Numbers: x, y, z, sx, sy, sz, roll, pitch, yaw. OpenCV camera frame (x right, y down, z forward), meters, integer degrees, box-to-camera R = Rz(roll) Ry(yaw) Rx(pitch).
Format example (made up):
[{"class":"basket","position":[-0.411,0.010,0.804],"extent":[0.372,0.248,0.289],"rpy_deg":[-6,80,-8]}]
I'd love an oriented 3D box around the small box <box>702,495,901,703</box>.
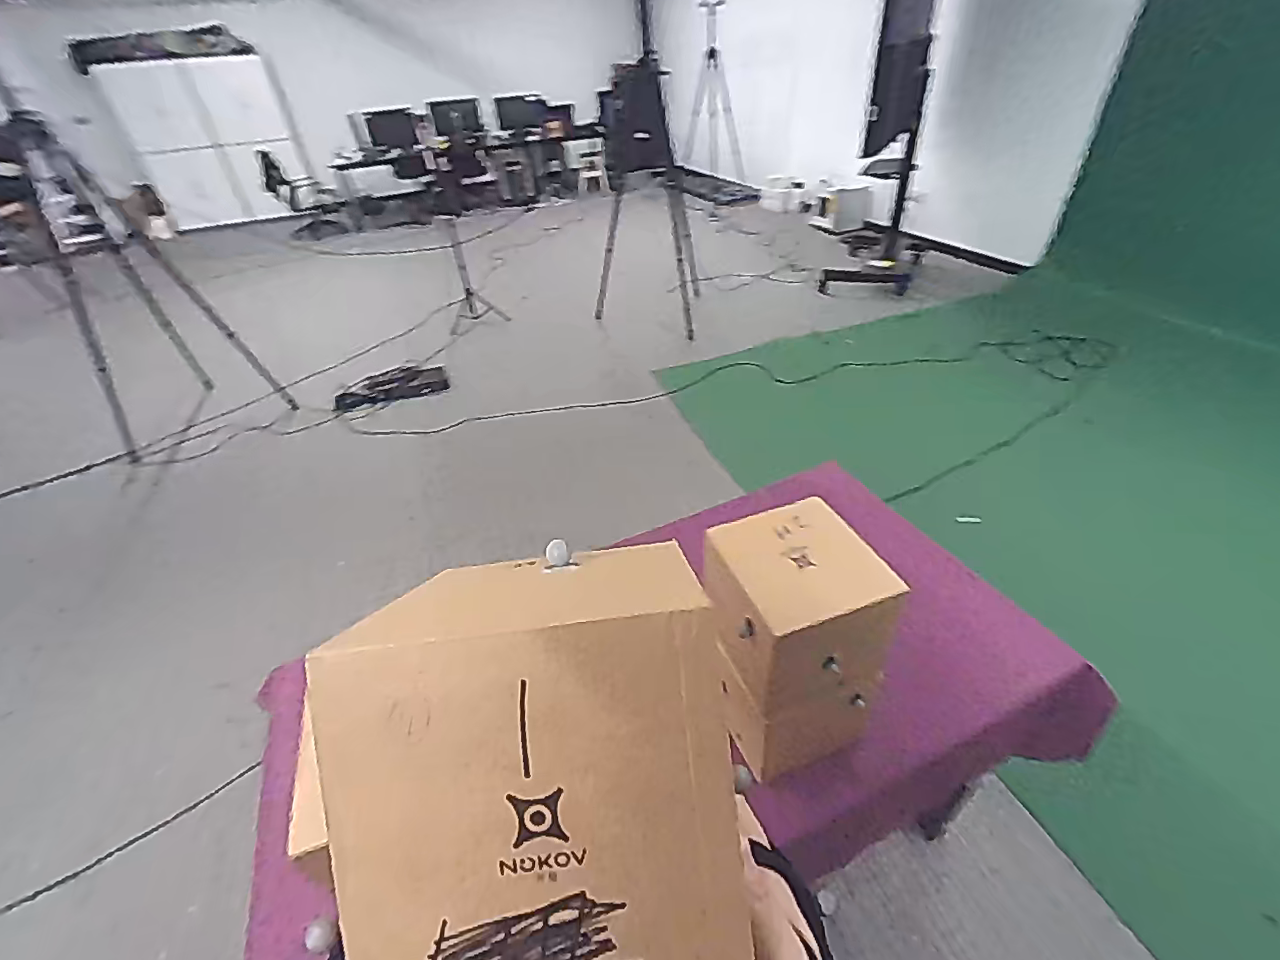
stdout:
[{"class":"small box","position":[0.187,0.151,0.678],"extent":[0.168,0.176,0.179],"rpy_deg":[-15,39,-12]}]

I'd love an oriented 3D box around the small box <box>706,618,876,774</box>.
[{"class":"small box","position":[0.202,0.283,0.775],"extent":[0.179,0.176,0.168],"rpy_deg":[-16,39,-14]}]

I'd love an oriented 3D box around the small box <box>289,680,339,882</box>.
[{"class":"small box","position":[-0.225,0.288,0.557],"extent":[0.168,0.176,0.179],"rpy_deg":[-16,39,-13]}]

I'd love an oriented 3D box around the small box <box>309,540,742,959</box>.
[{"class":"small box","position":[-0.044,0.139,0.302],"extent":[0.168,0.179,0.176],"rpy_deg":[-7,2,0]}]
